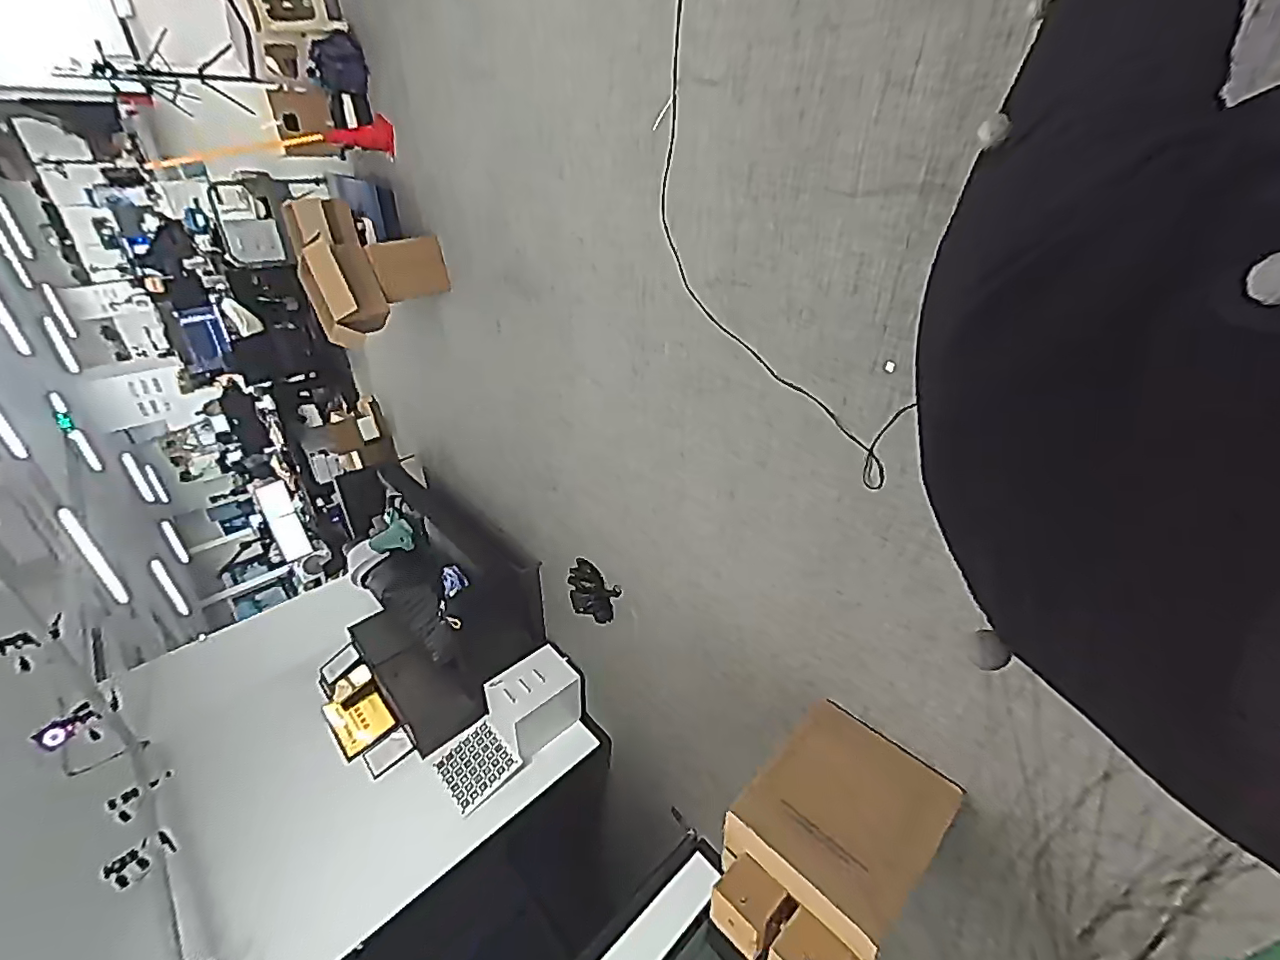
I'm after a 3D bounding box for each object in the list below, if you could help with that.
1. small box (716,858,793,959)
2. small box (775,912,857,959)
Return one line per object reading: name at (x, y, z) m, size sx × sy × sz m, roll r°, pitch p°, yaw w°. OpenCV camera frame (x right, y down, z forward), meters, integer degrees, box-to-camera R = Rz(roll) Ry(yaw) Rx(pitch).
small box at (0.364, 1.367, 1.723) m, size 0.179 × 0.176 × 0.168 m, roll 23°, pitch 121°, yaw 44°
small box at (0.510, 1.431, 1.580) m, size 0.179 × 0.176 × 0.168 m, roll 24°, pitch 123°, yaw 42°
